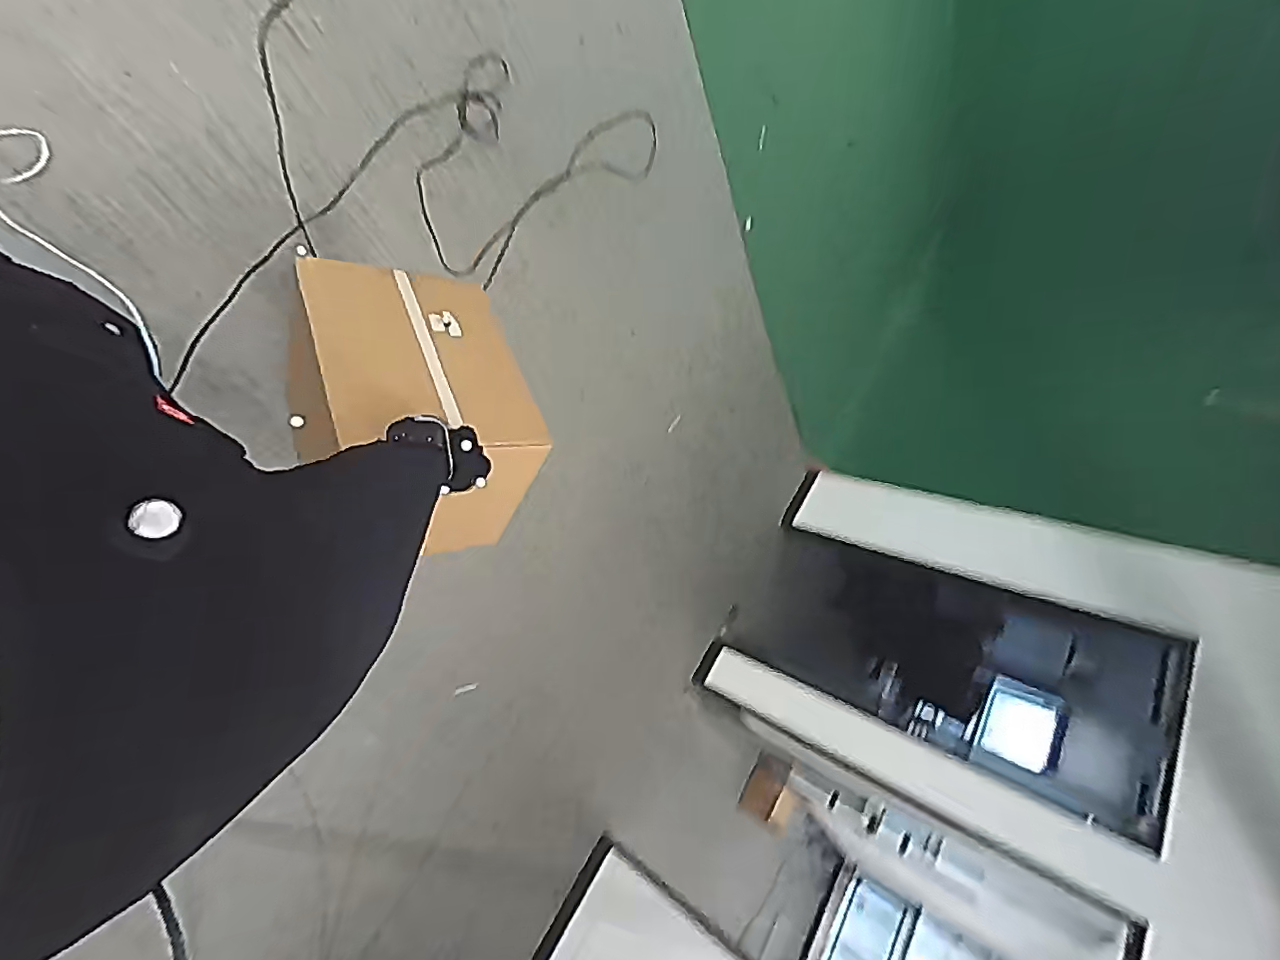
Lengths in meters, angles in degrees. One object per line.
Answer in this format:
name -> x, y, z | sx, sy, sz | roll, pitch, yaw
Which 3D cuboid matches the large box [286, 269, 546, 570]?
large box -> -0.425, -0.105, 0.976 | 0.320, 0.408, 0.320 | -4, 145, -40
